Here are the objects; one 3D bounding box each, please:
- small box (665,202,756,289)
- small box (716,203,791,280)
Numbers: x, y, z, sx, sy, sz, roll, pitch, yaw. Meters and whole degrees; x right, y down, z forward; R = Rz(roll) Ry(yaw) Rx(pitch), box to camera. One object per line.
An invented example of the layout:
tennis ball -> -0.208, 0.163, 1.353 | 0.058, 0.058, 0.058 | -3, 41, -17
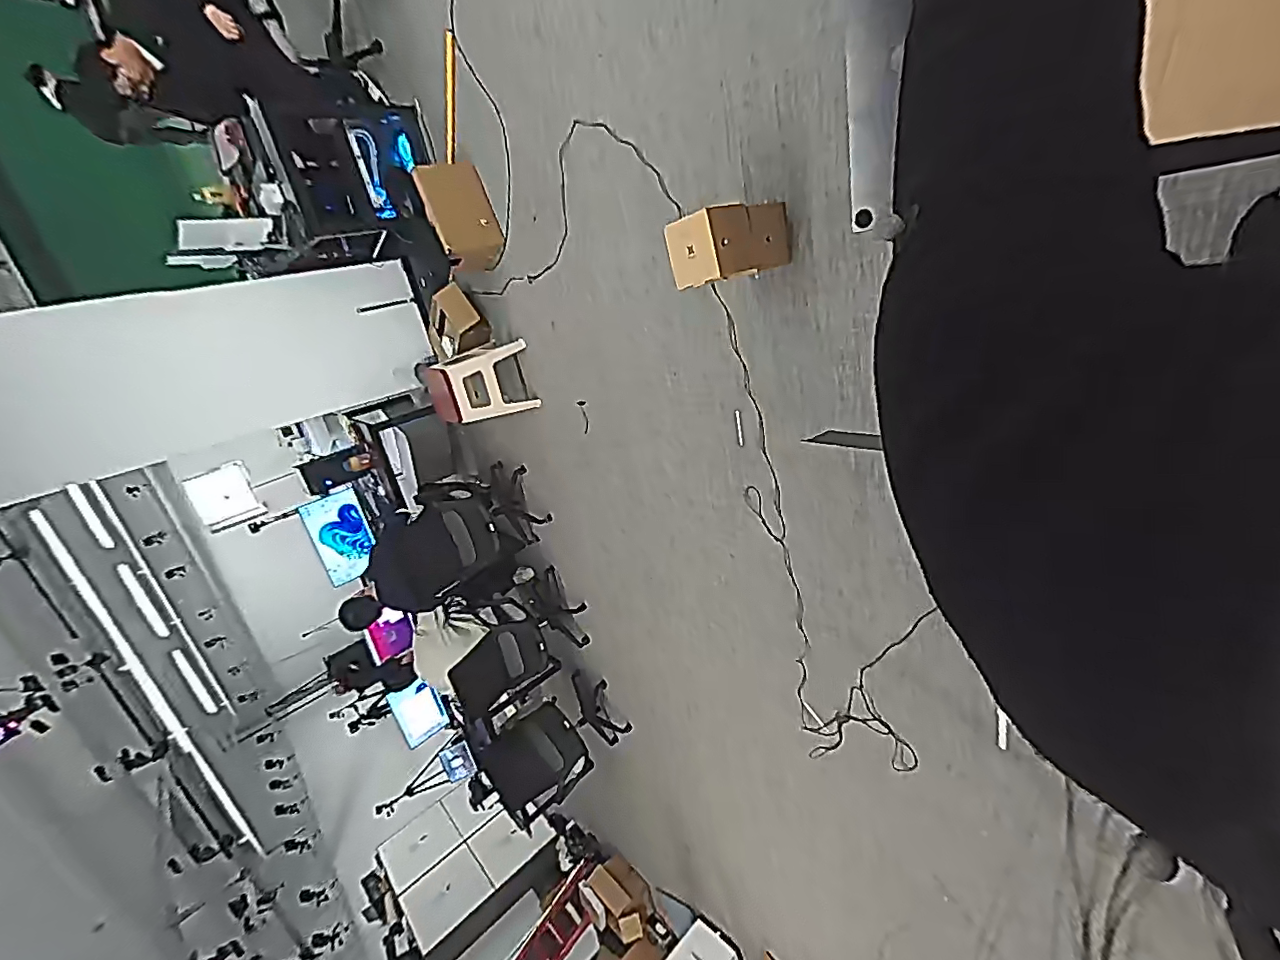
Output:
small box -> 0.201, -0.650, 1.500 | 0.168, 0.176, 0.179 | 4, 115, 50
small box -> 0.322, -0.705, 1.595 | 0.168, 0.176, 0.179 | 8, 119, 50
